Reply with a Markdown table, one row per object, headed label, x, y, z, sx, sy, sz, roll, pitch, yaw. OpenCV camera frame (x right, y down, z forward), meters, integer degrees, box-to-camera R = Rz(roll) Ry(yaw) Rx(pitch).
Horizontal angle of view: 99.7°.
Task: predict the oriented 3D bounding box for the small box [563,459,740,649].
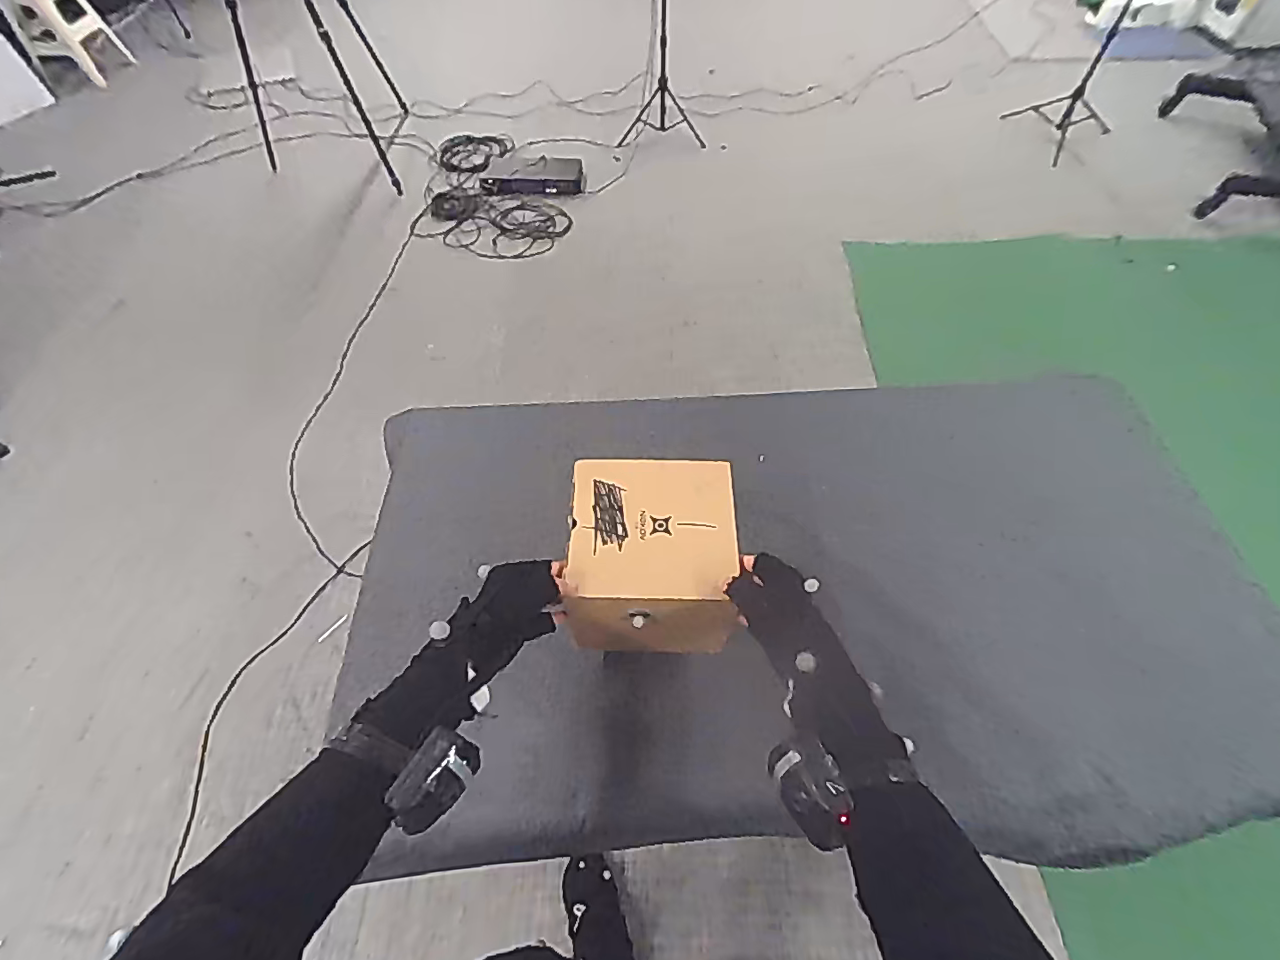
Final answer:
| label | x | y | z | sx | sy | sz | roll | pitch | yaw |
| --- | --- | --- | --- | --- | --- | --- | --- | --- | --- |
| small box | 0.013 | 0.092 | 0.631 | 0.179 | 0.176 | 0.168 | 1 | 56 | 0 |
